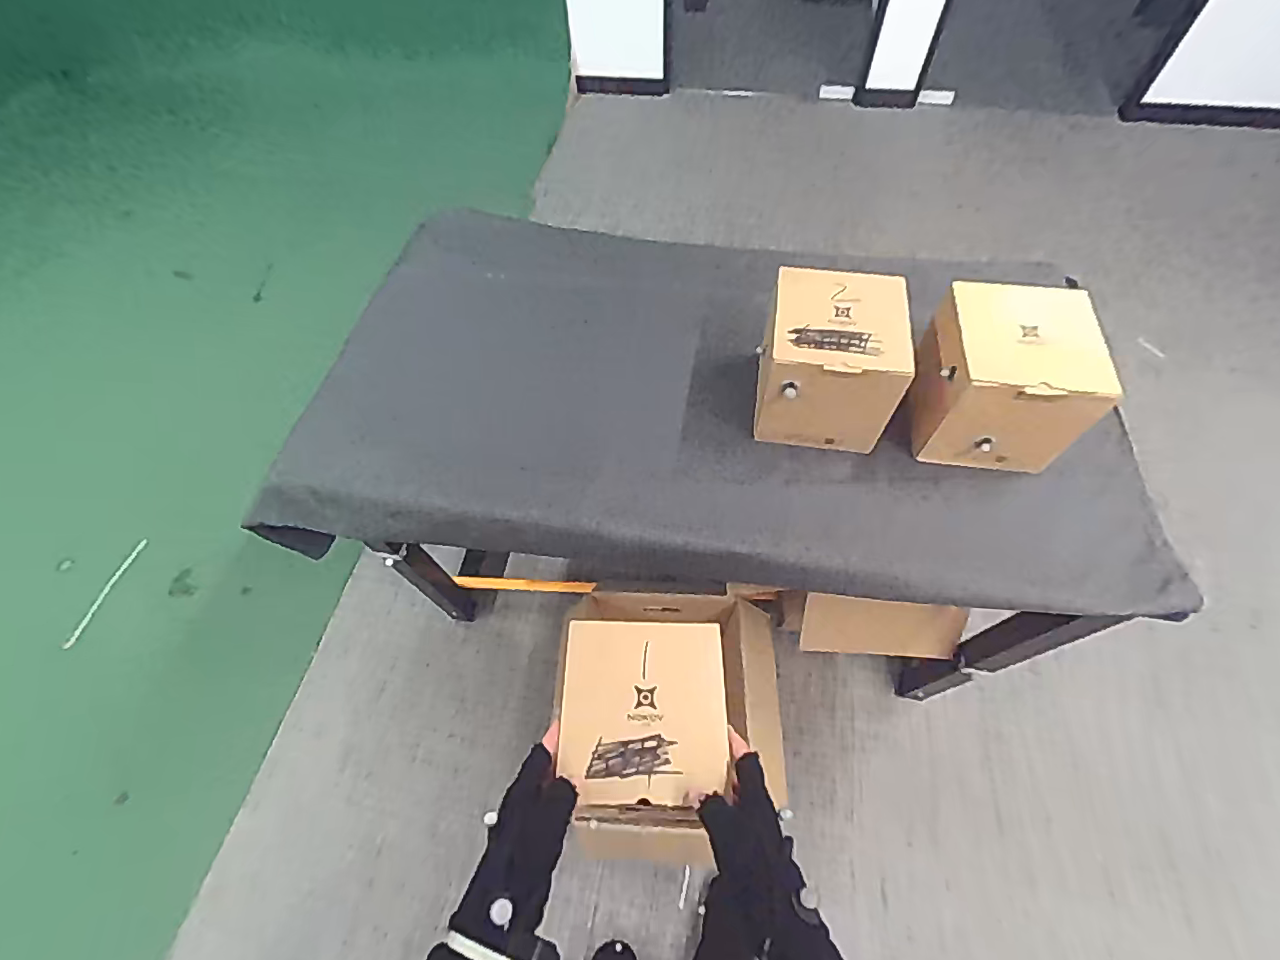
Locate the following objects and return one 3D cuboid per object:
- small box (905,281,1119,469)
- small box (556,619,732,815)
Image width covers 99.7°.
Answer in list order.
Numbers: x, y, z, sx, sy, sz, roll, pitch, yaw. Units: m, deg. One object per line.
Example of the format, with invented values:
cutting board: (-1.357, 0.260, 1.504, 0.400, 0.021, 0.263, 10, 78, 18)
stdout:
small box: (0.475, -0.137, 0.728, 0.168, 0.176, 0.179, 6, 60, 7)
small box: (0.005, 0.270, 0.606, 0.168, 0.176, 0.179, 2, 55, -1)
